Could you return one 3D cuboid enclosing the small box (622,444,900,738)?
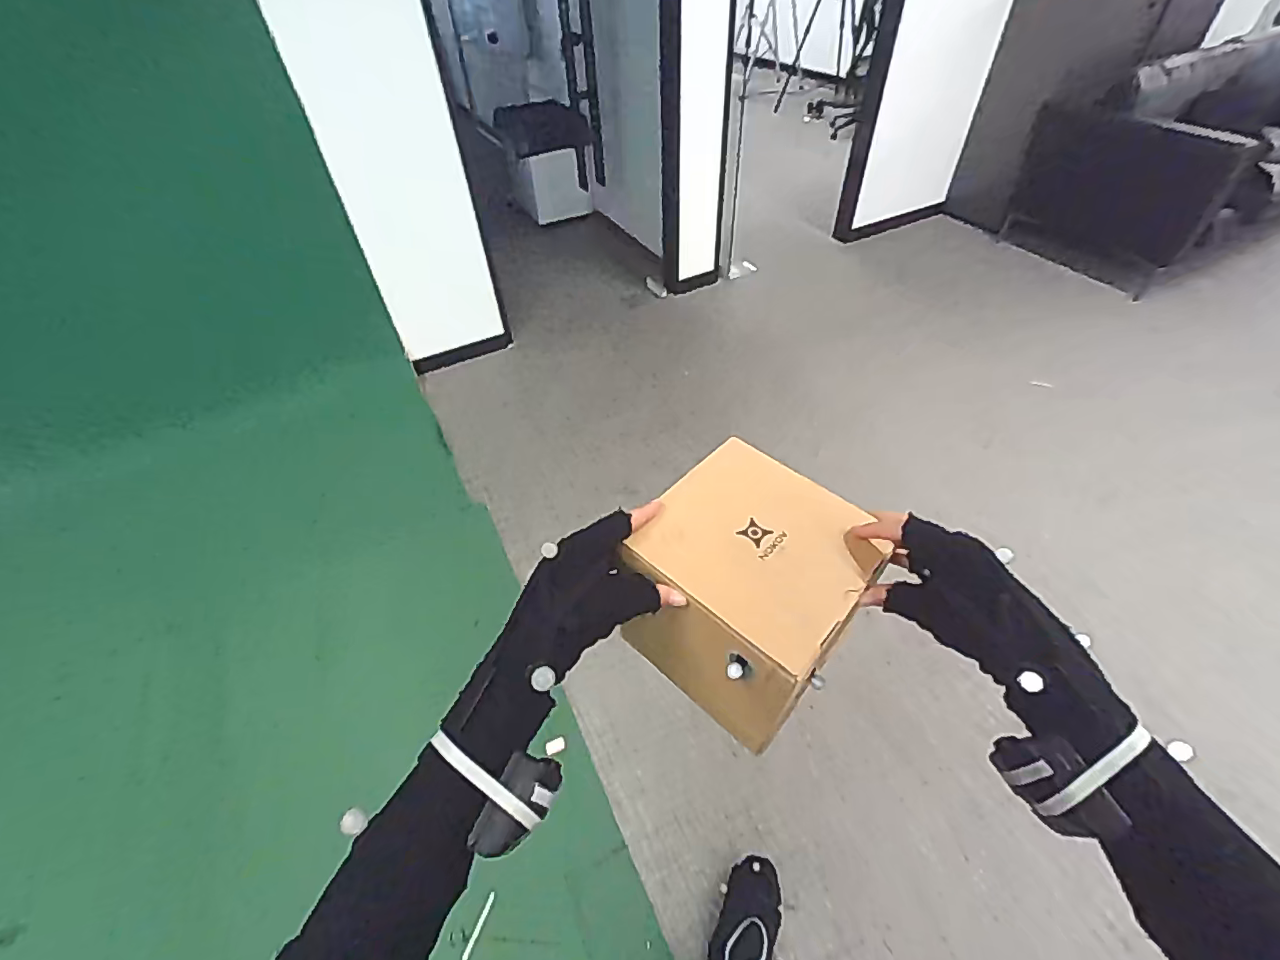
[{"bbox_3d":[0.099,0.103,0.508,0.179,0.176,0.168,35,56,27],"label":"small box"}]
